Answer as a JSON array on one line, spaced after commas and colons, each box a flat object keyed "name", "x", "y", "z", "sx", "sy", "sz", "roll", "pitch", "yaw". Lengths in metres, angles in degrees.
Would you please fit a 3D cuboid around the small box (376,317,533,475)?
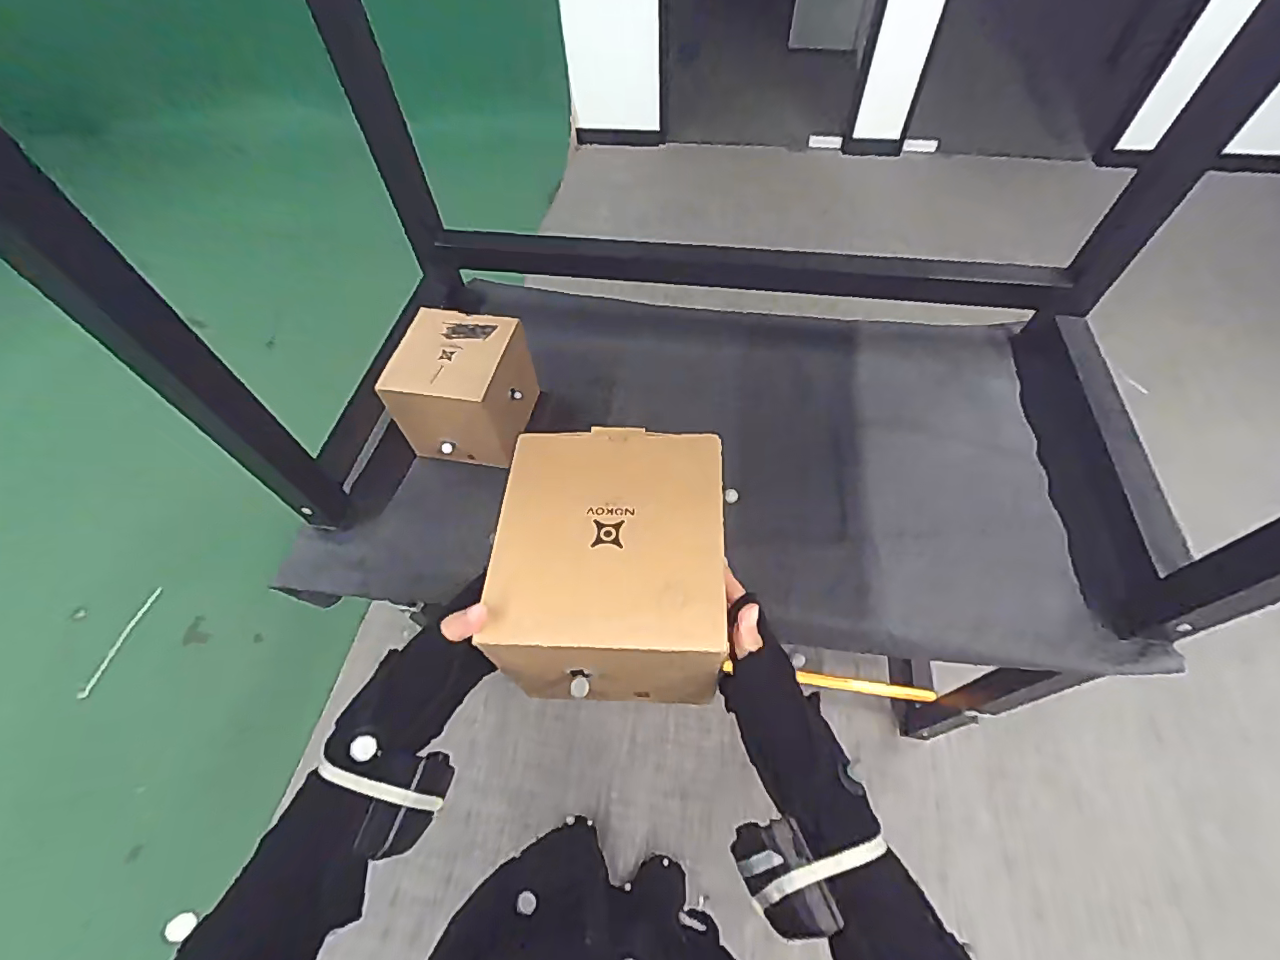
[{"name": "small box", "x": -0.281, "y": -0.133, "z": 0.872, "sx": 0.168, "sy": 0.176, "sz": 0.179, "roll": 8, "pitch": 57, "yaw": 7}]

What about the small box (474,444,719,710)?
[{"name": "small box", "x": -0.020, "y": 0.087, "z": 0.460, "sx": 0.168, "sy": 0.176, "sz": 0.179, "roll": 0, "pitch": 55, "yaw": 4}]
